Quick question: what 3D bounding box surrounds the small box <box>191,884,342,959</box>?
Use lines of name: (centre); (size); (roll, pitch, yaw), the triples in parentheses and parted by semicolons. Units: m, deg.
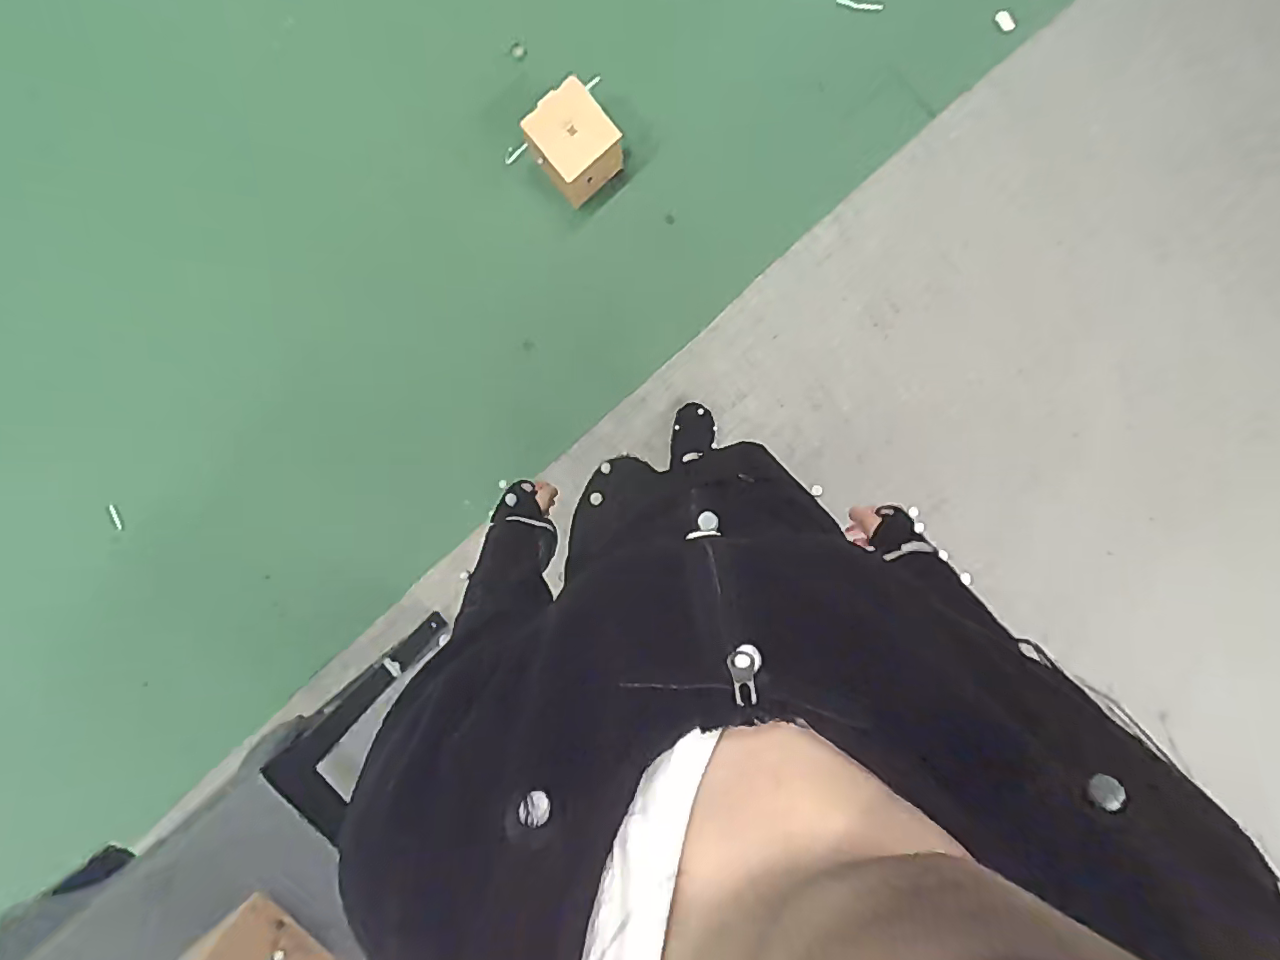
small box: (-0.590, 0.764, 0.795); (0.179, 0.176, 0.168); (-39, 93, 1)

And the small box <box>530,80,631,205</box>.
small box: (-0.136, -0.812, 1.329); (0.168, 0.176, 0.179); (-40, 93, 6)
